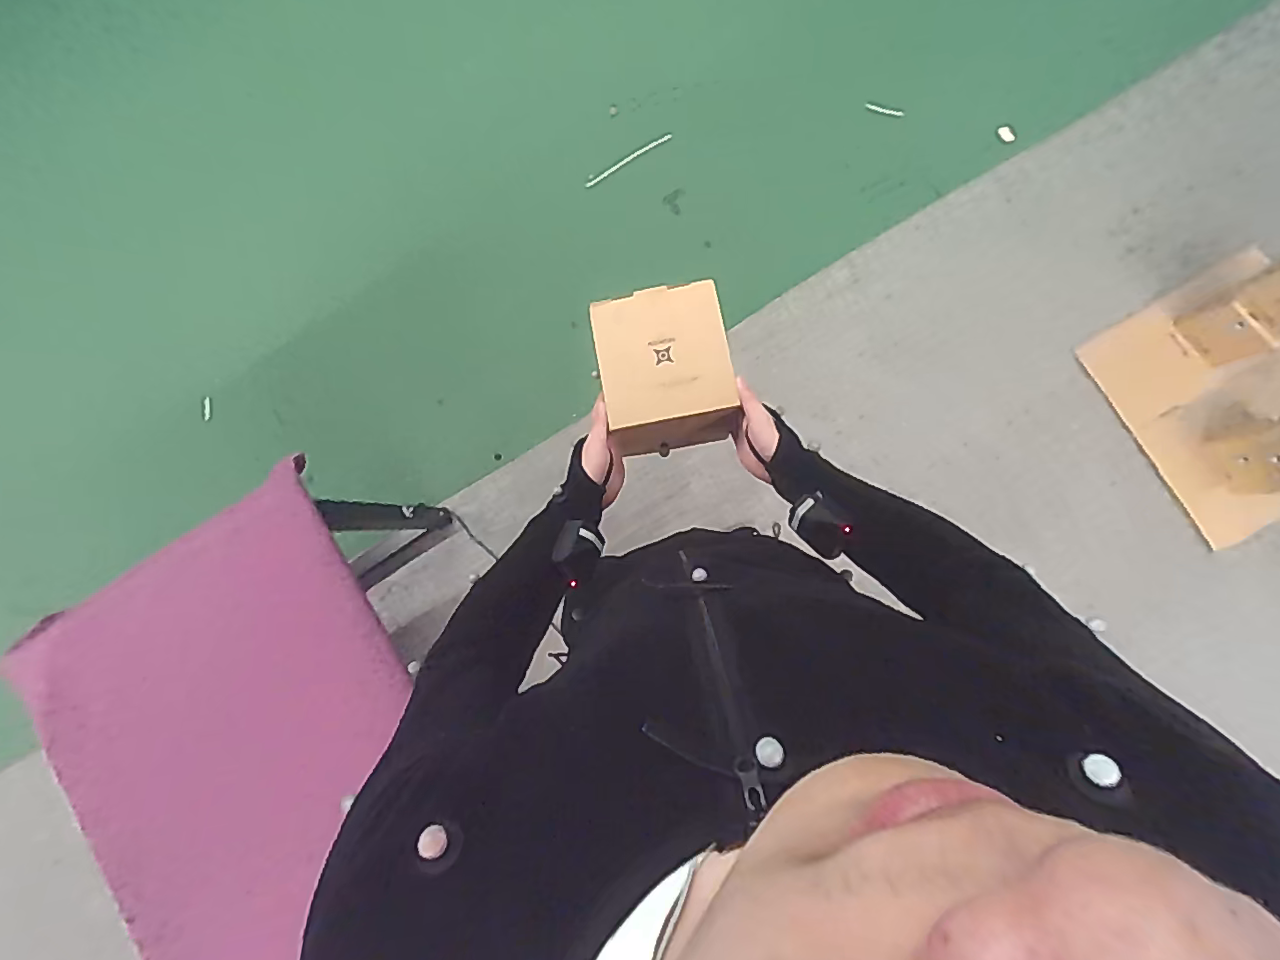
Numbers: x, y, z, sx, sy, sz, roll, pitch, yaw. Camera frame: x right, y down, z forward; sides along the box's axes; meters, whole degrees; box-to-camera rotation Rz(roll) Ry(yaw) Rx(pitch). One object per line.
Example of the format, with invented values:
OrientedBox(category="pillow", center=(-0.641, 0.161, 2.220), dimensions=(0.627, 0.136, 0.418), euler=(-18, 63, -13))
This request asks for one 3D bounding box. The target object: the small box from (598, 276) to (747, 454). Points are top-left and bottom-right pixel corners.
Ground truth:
OrientedBox(category="small box", center=(0.042, -0.147, 0.746), dimensions=(0.168, 0.176, 0.179), euler=(-9, 80, 2))

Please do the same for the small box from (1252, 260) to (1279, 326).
OrientedBox(category="small box", center=(1.658, -0.486, 1.300), dimensions=(0.179, 0.176, 0.168), euler=(-37, 84, 0))

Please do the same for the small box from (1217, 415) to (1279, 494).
OrientedBox(category="small box", center=(1.701, -0.073, 1.426), dimensions=(0.179, 0.176, 0.168), euler=(-26, 83, 1))

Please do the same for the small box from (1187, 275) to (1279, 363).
OrientedBox(category="small box", center=(1.668, -0.448, 1.461), dimensions=(0.179, 0.176, 0.168), euler=(-38, 83, 0))
